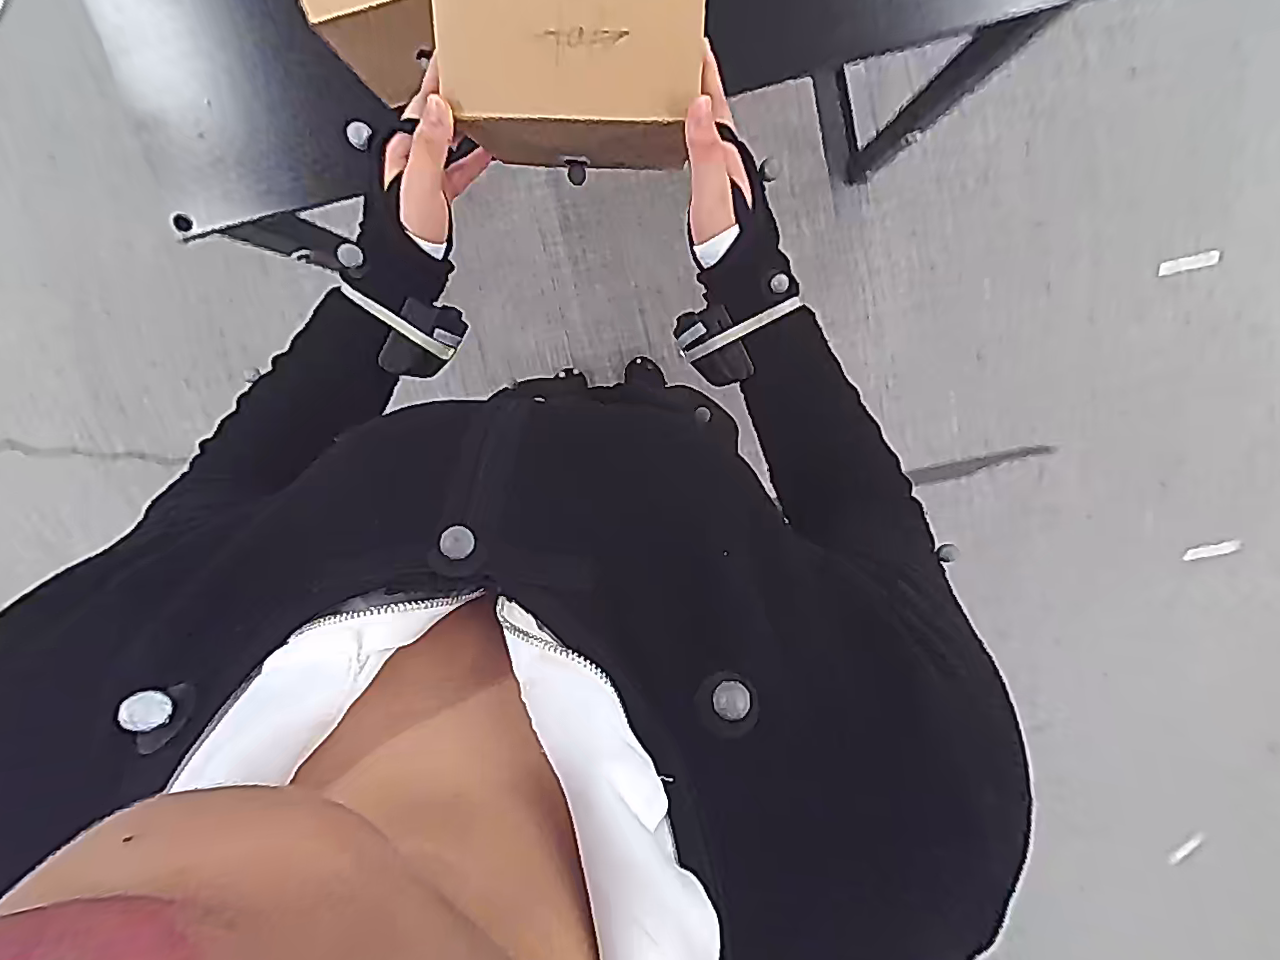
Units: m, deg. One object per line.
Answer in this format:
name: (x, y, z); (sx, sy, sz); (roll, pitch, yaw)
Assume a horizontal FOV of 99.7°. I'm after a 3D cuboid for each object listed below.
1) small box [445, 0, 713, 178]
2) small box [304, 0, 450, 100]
small box: (-0.036, -0.339, 0.397); (0.168, 0.176, 0.179); (3, 111, 0)
small box: (-0.250, -0.540, 0.571); (0.168, 0.176, 0.179); (-14, 101, 2)
